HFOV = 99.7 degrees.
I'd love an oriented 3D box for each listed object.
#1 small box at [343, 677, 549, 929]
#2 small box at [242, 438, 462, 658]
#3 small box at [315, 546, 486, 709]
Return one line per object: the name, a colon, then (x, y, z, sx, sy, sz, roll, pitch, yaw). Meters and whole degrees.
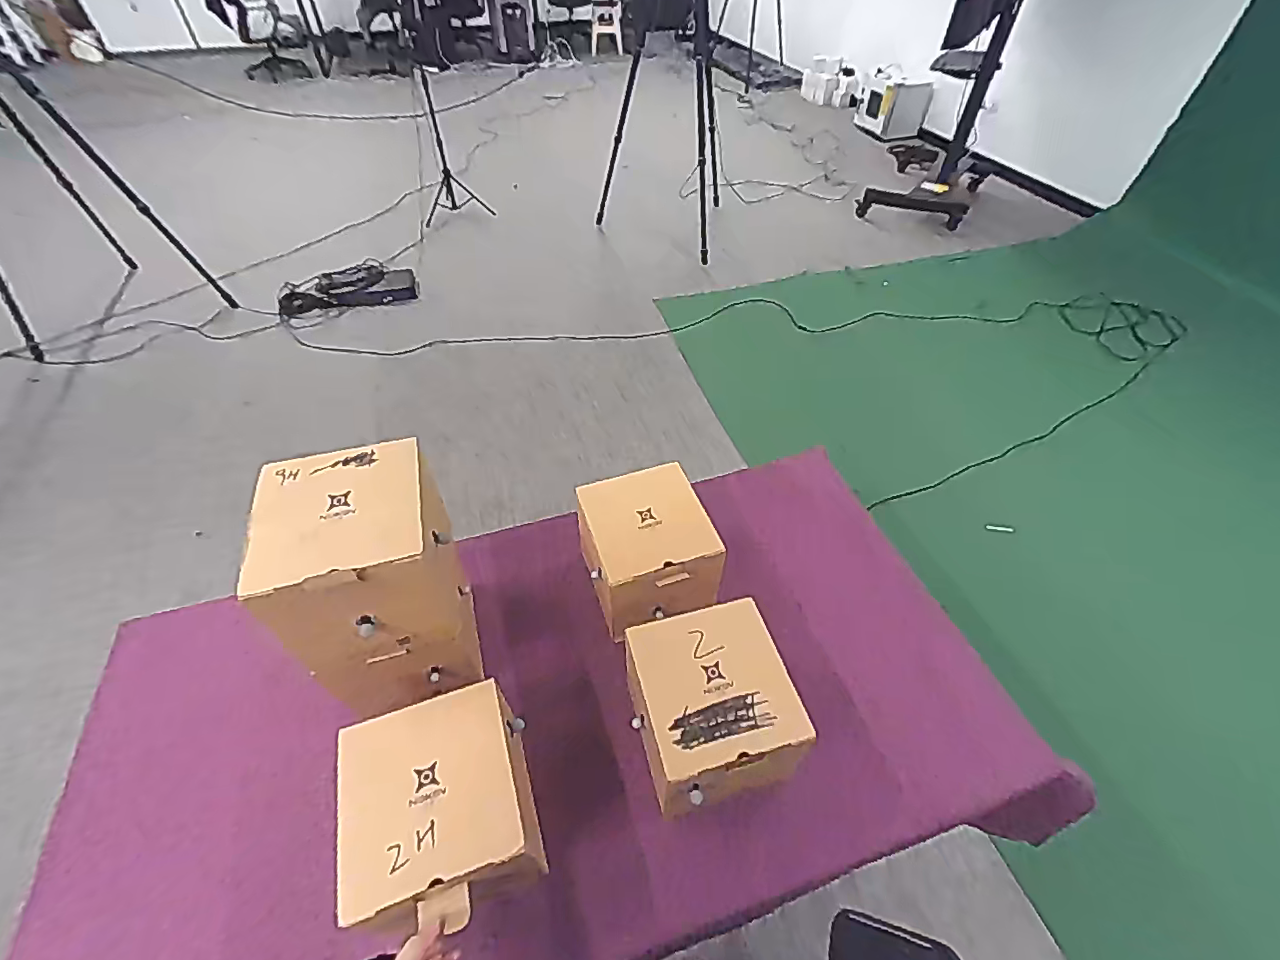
small box: (-0.207, 0.355, 0.596, 0.168, 0.176, 0.179, -16, 50, -13)
small box: (-0.310, 0.084, 0.618, 0.168, 0.176, 0.179, -13, 50, -12)
small box: (-0.317, 0.193, 0.741, 0.168, 0.176, 0.179, -13, 50, -12)
